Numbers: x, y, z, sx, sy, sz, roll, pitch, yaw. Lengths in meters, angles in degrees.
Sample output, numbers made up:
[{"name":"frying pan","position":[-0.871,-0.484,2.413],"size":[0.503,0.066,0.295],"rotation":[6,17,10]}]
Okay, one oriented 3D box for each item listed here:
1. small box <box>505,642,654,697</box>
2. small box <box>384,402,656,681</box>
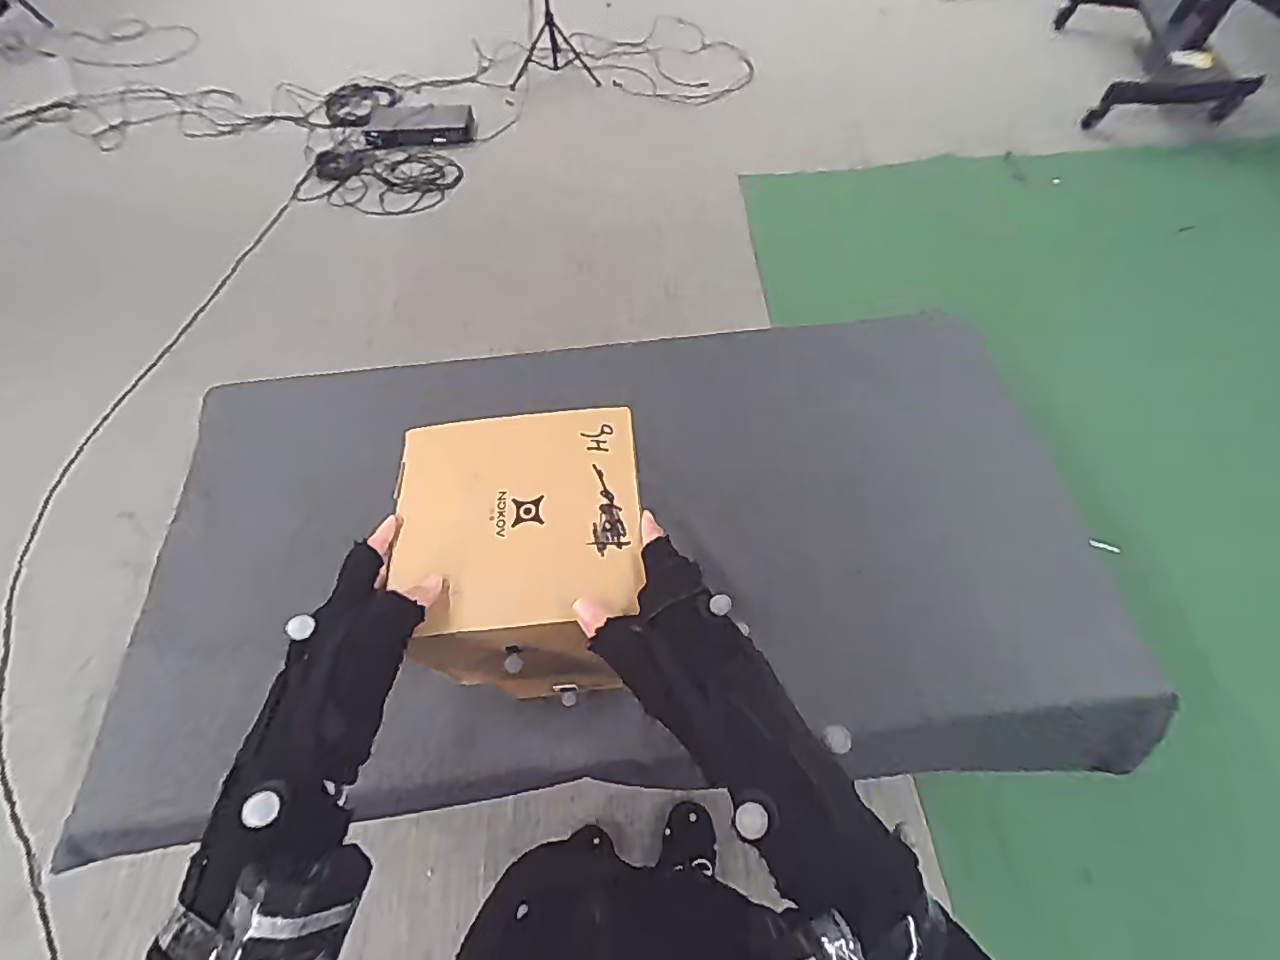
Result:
[{"name":"small box","position":[-0.078,0.129,0.604],"size":[0.168,0.176,0.179],"rotation":[-9,61,-1]},{"name":"small box","position":[-0.085,0.059,0.457],"size":[0.179,0.176,0.168],"rotation":[-8,57,-2]}]
